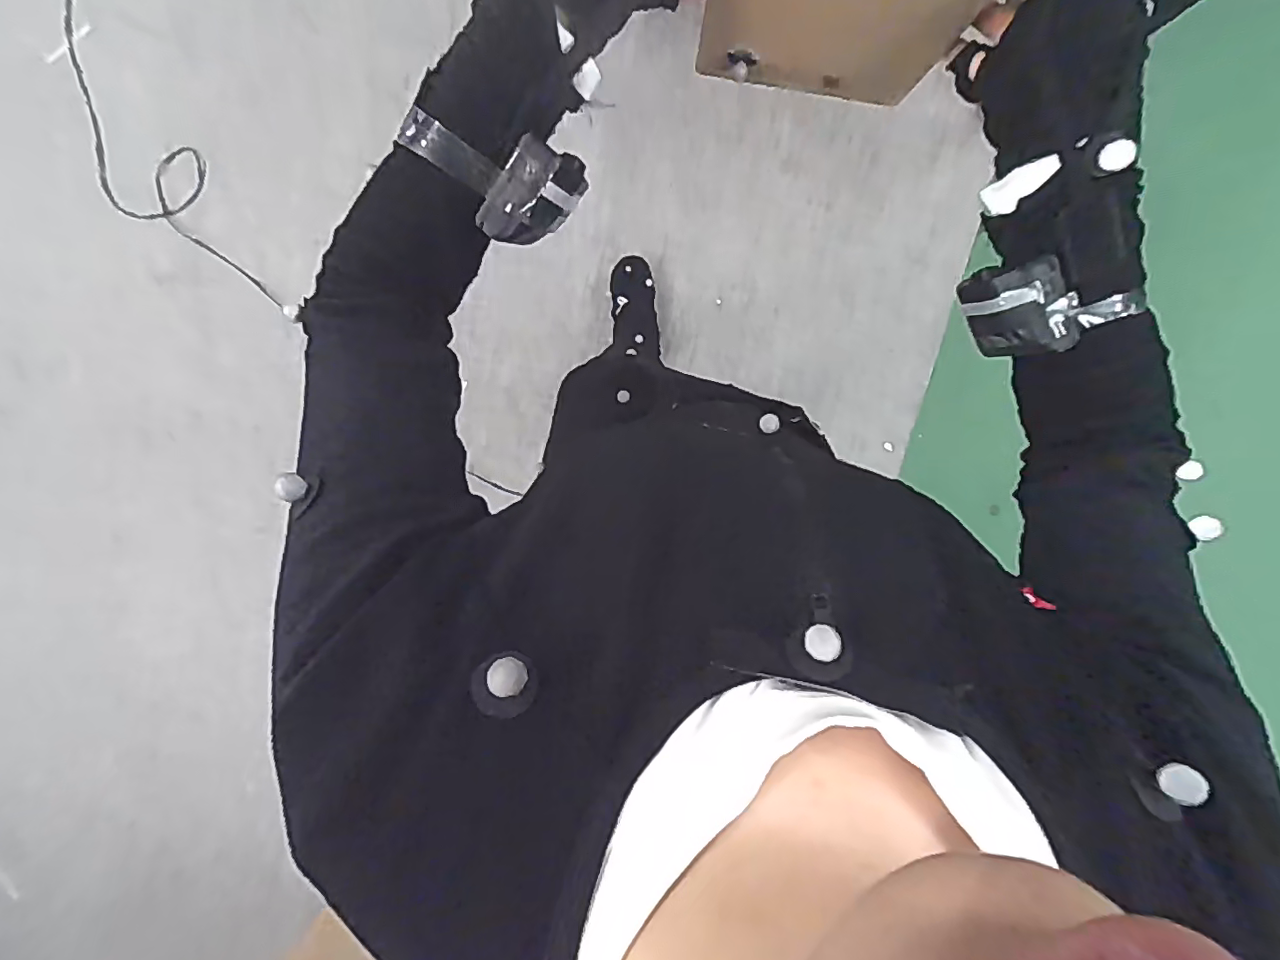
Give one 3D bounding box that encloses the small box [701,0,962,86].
[{"bbox_3d":[0.136,-0.388,0.333,0.168,0.176,0.179,9,99,-2],"label":"small box"}]
